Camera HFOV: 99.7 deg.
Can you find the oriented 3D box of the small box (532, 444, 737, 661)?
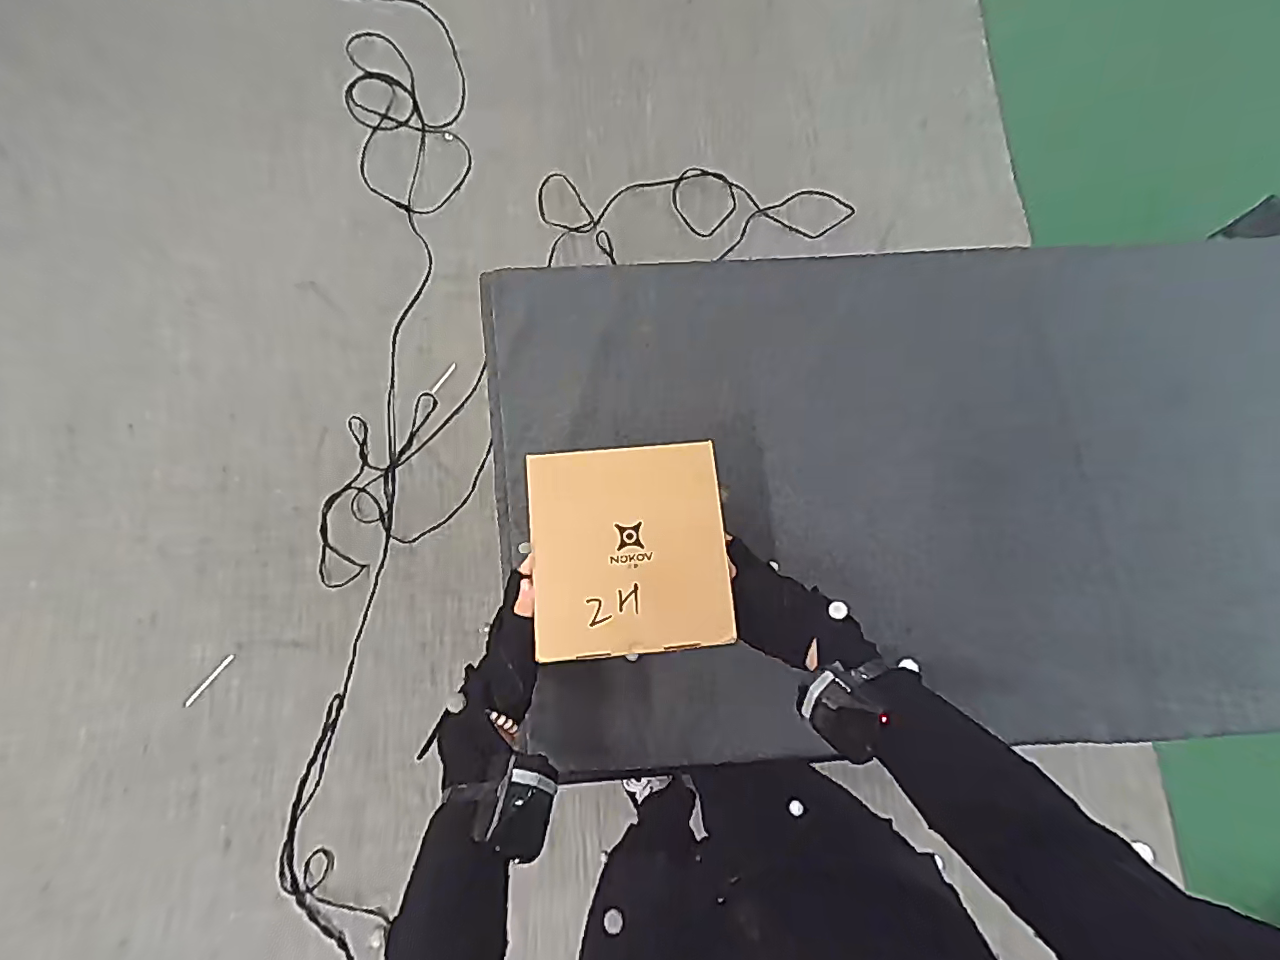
[{"bbox_3d":[-0.012,0.074,0.533,0.168,0.176,0.179,-4,78,-4],"label":"small box"}]
